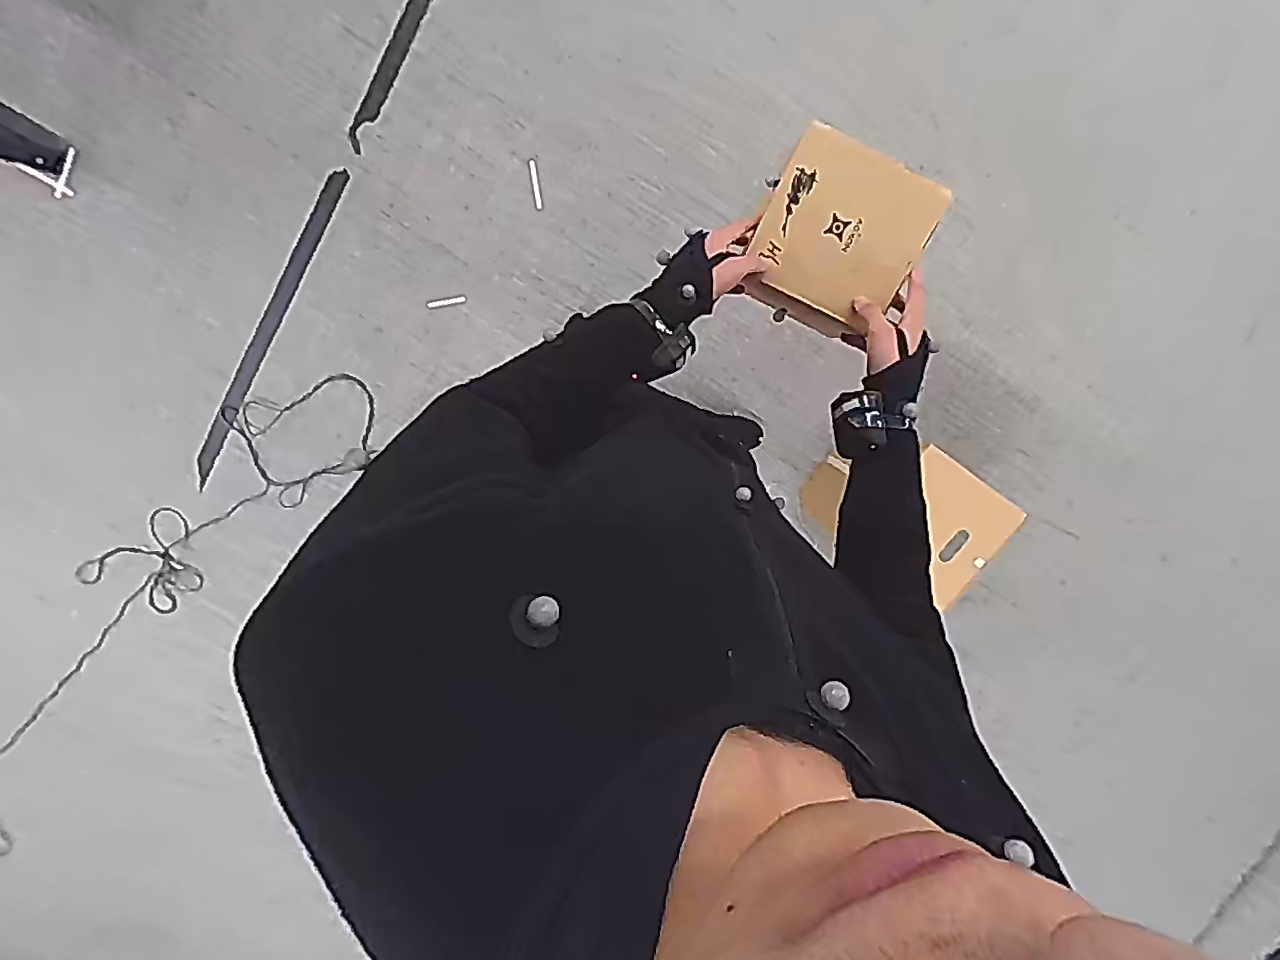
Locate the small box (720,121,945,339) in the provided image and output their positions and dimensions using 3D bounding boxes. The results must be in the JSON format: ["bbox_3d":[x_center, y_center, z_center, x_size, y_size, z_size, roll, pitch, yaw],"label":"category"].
[{"bbox_3d":[0.216,-0.288,0.662,0.179,0.176,0.168,25,104,-5],"label":"small box"}]
